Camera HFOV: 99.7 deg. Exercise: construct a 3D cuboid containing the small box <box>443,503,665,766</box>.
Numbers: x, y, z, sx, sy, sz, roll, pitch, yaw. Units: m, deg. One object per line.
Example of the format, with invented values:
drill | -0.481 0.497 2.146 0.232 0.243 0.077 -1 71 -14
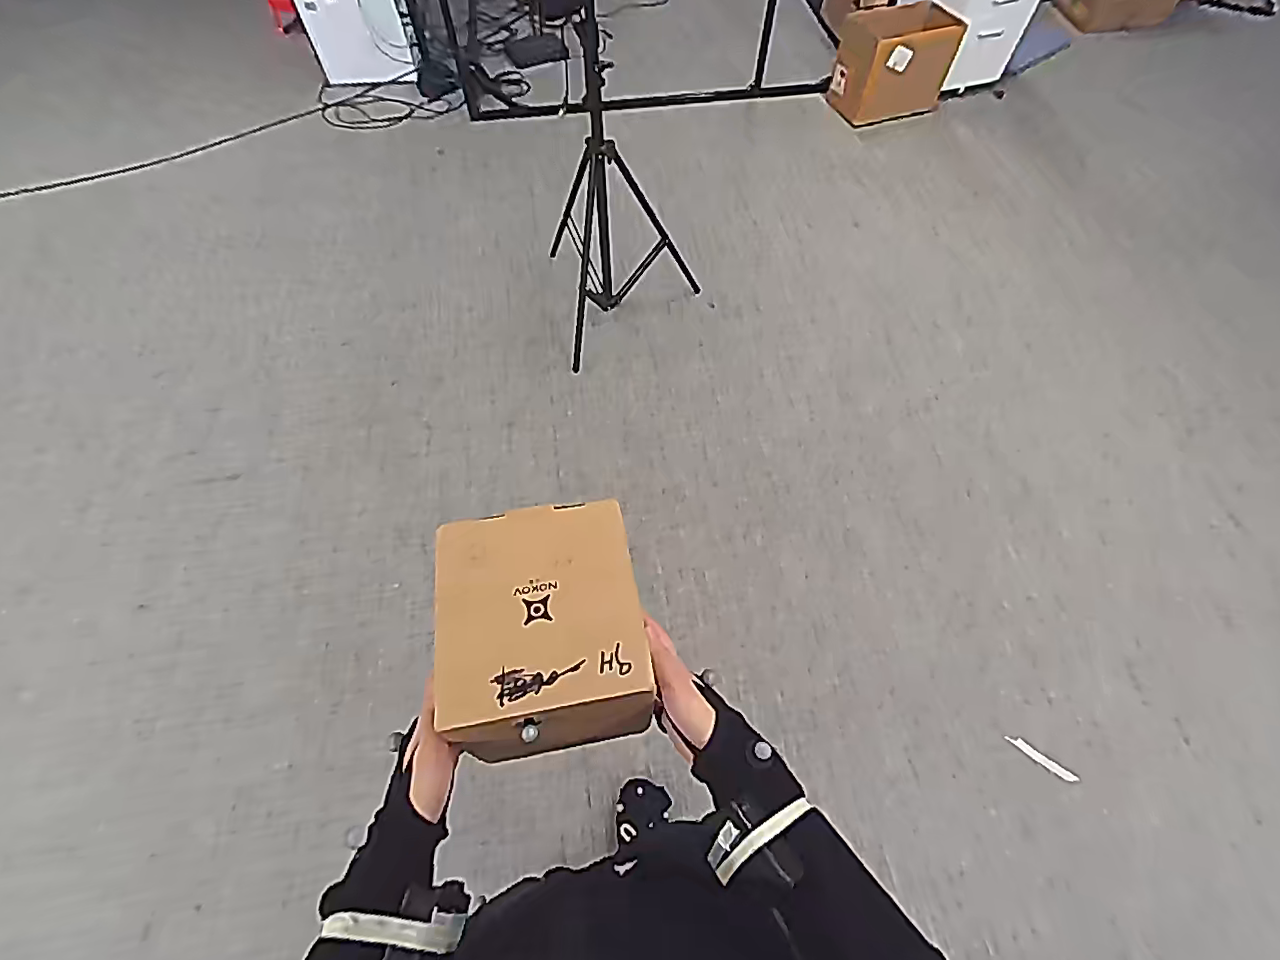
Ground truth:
small box | -0.078 0.147 0.509 0.168 0.176 0.179 -9 55 -7
